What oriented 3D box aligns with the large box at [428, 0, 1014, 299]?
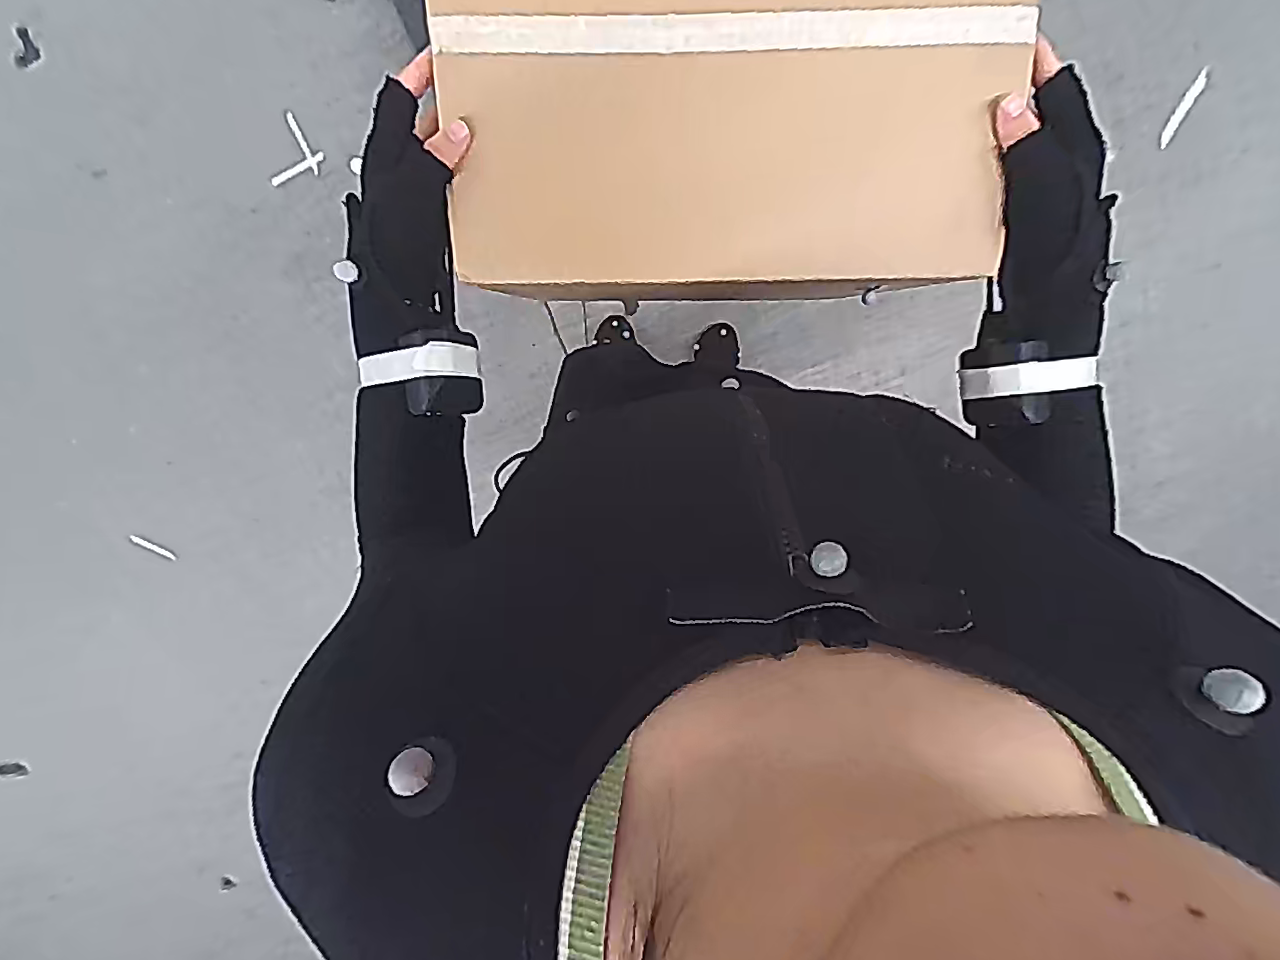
[{"bbox_3d":[0.054,-0.344,0.514,0.408,0.320,0.320,-2,106,-1],"label":"large box"}]
